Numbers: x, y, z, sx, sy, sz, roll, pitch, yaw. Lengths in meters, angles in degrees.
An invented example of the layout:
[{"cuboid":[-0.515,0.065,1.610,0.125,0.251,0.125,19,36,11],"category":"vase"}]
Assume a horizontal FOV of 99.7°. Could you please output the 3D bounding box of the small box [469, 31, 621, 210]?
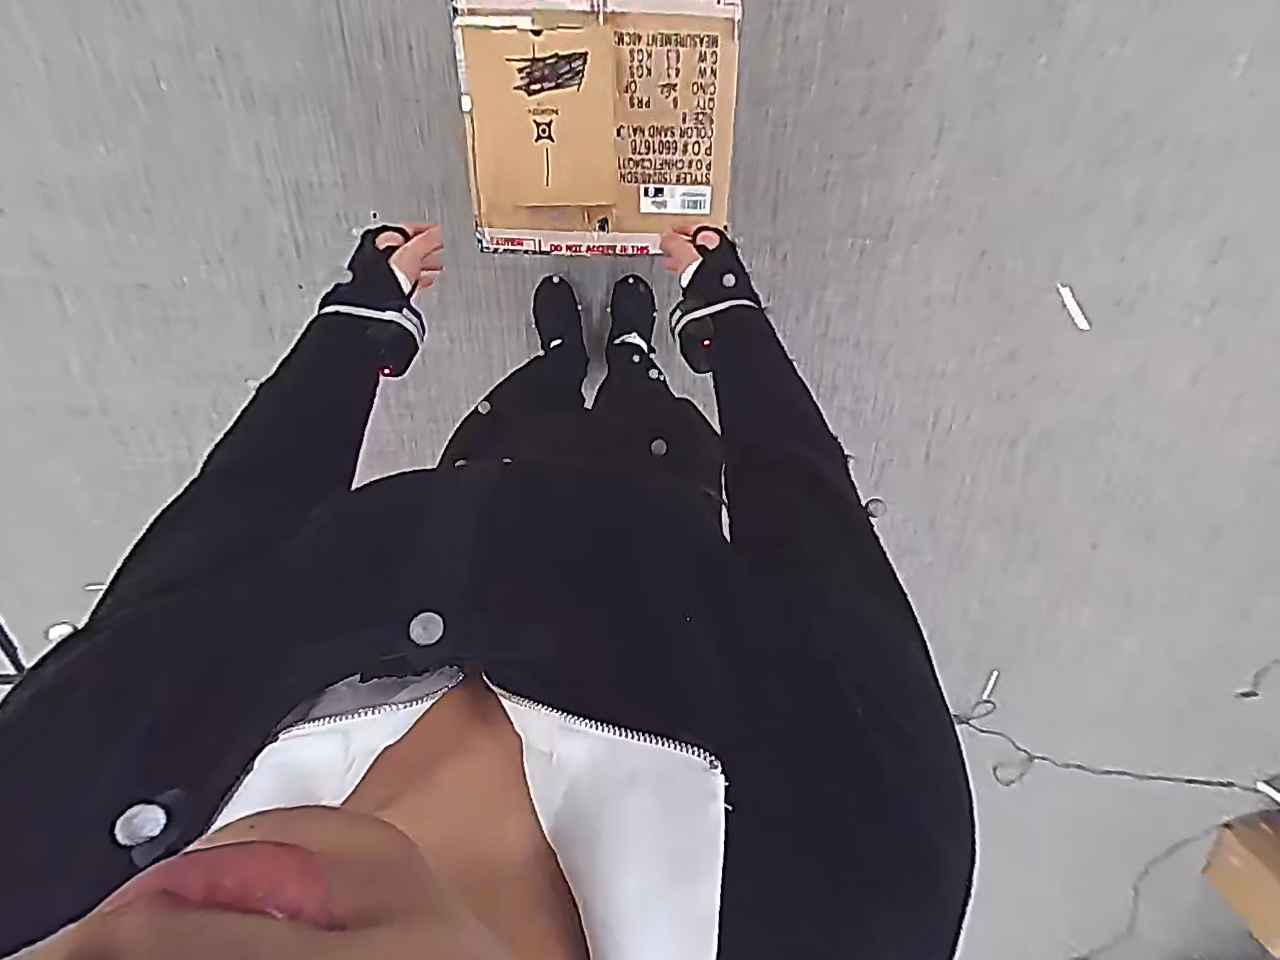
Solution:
[{"cuboid":[-0.109,-0.450,0.699,0.168,0.176,0.179,-1,119,0],"category":"small box"}]
